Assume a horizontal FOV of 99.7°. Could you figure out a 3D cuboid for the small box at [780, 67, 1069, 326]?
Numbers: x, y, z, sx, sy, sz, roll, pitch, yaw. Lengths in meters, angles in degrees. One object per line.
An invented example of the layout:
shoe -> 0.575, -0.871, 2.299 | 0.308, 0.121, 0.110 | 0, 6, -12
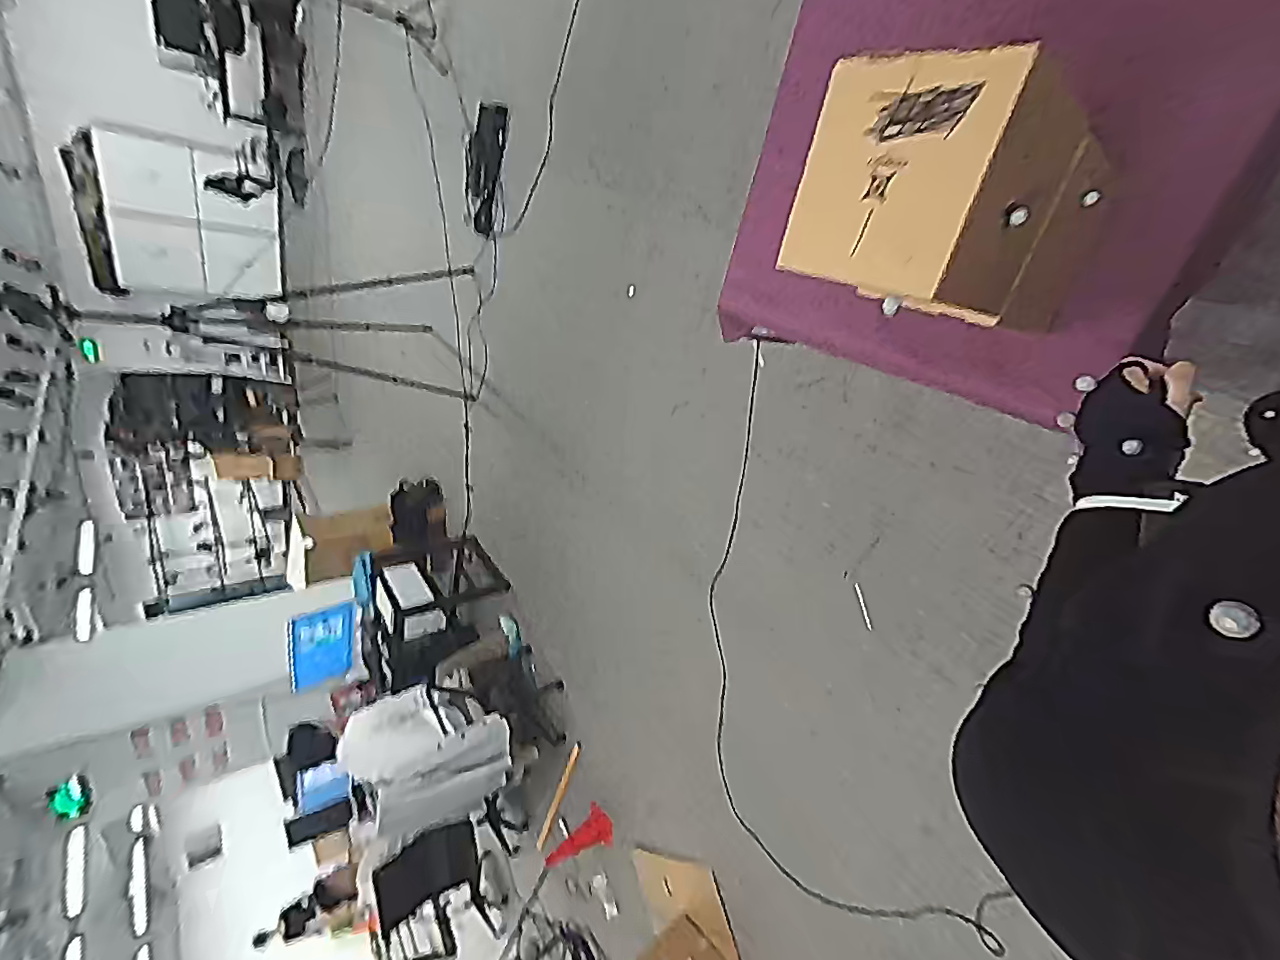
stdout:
small box -> 0.271, -0.259, 0.519 | 0.168, 0.176, 0.179 | 35, 122, 41
